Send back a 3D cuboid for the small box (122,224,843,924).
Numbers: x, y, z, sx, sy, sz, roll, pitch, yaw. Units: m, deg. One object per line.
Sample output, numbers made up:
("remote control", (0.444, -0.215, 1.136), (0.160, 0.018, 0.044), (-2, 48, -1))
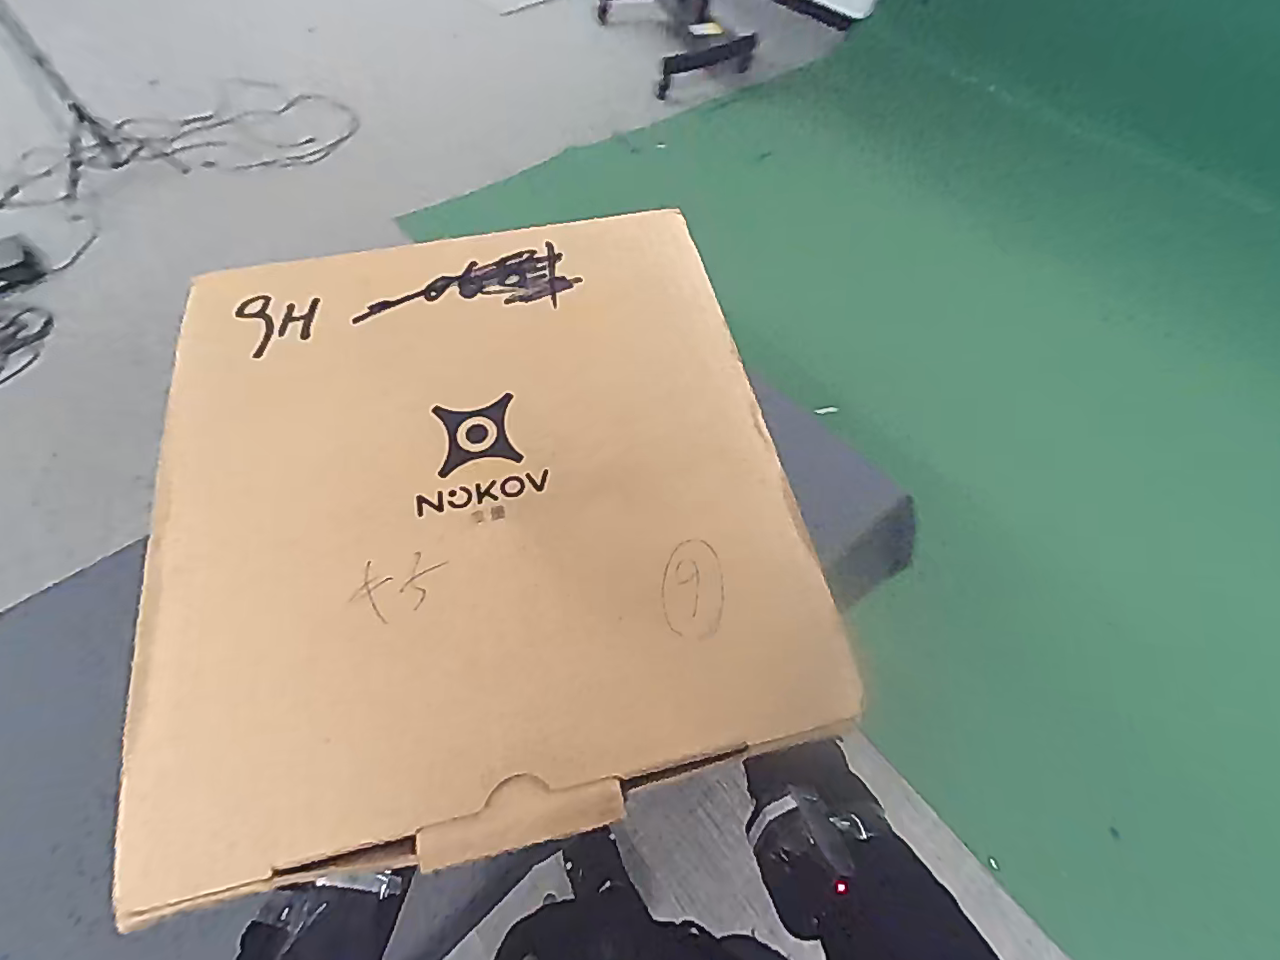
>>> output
("small box", (-0.047, 0.032, 0.225), (0.168, 0.176, 0.179), (-10, 68, -7))
